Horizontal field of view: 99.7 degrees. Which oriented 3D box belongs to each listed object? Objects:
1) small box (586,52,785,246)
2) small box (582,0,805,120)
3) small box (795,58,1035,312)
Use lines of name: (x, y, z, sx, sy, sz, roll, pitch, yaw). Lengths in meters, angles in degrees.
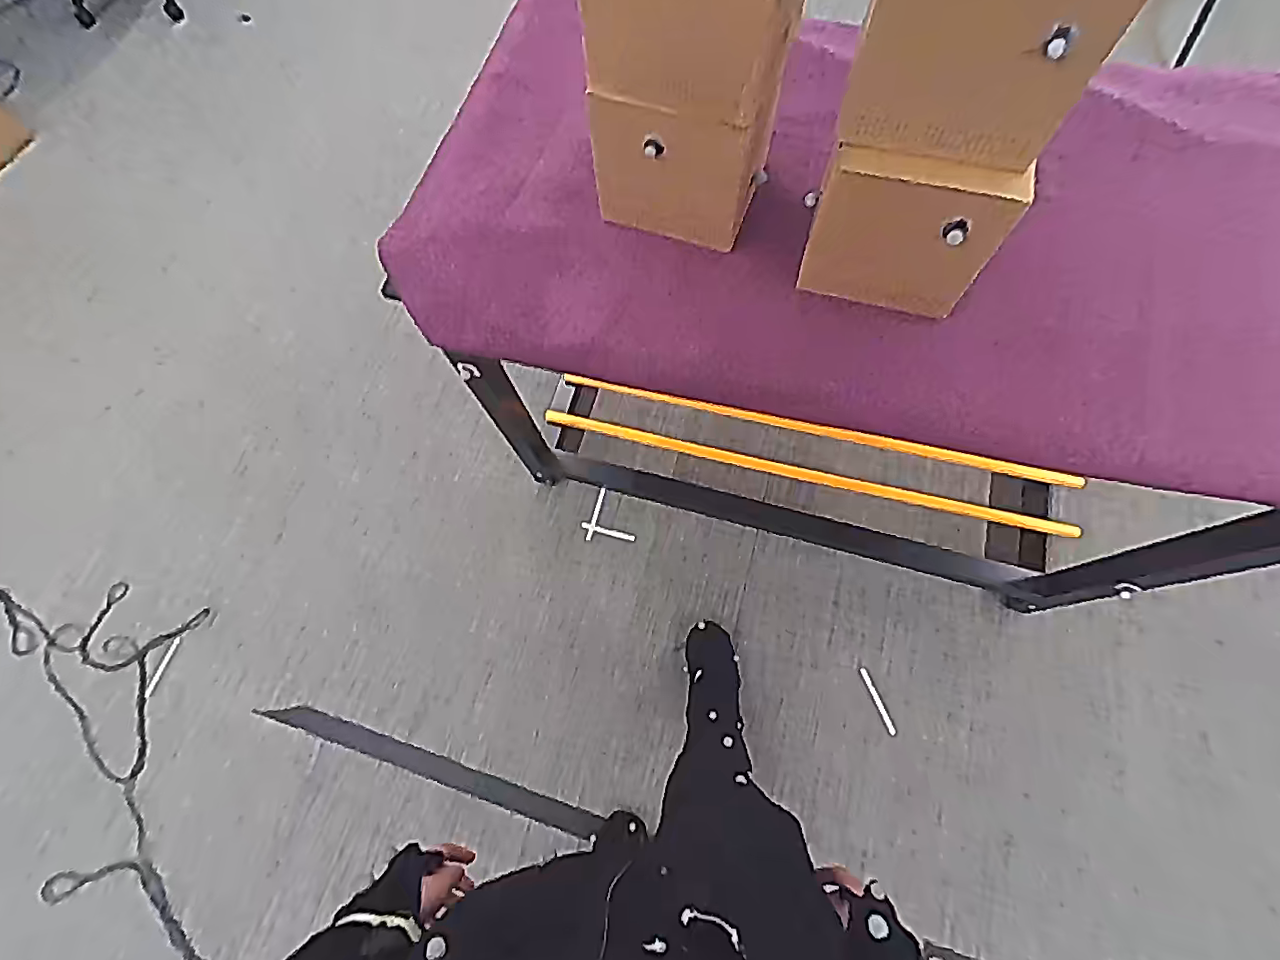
small box: (0.055, -0.412, 0.644, 0.179, 0.176, 0.168, 19, 72, 8)
small box: (0.057, -0.470, 0.492, 0.179, 0.176, 0.168, 22, 73, 11)
small box: (0.288, -0.312, 0.595, 0.179, 0.176, 0.168, 15, 70, 9)
